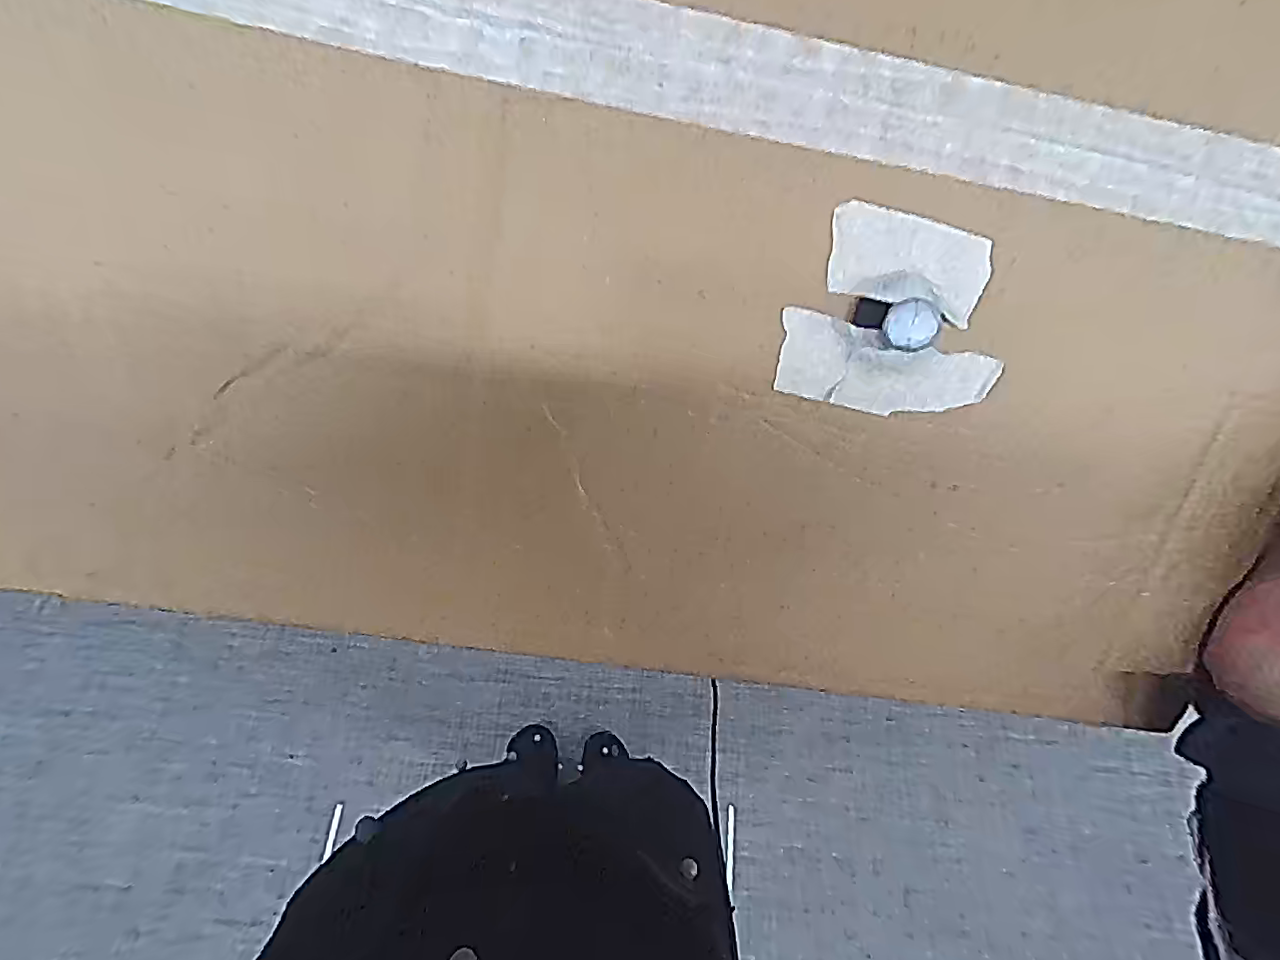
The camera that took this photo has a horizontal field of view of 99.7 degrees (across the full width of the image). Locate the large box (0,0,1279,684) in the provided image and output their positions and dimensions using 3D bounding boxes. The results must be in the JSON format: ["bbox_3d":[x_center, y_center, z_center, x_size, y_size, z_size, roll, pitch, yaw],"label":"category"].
[{"bbox_3d":[-0.004,-0.135,0.278,0.408,0.320,0.320,8,106,-7],"label":"large box"}]
